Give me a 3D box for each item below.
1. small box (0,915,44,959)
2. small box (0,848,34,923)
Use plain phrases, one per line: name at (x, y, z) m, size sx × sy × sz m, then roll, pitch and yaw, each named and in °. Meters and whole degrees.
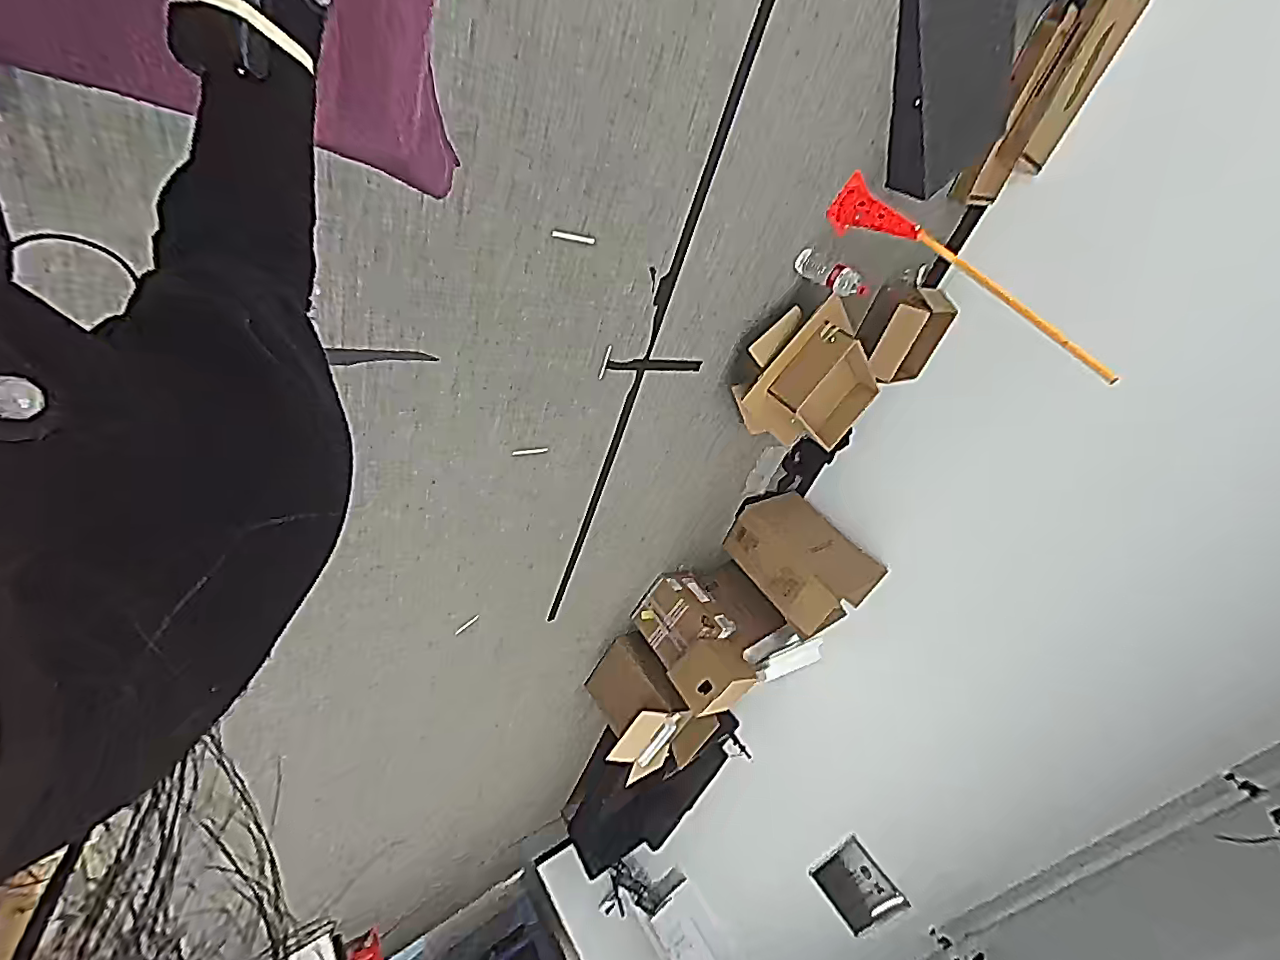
small box at (-1.593, 1.203, 1.306) m, size 0.168 × 0.176 × 0.179 m, roll -16°, pitch 139°, yaw -35°
small box at (-1.686, 1.092, 1.382) m, size 0.179 × 0.176 × 0.168 m, roll -1°, pitch 128°, yaw -45°
